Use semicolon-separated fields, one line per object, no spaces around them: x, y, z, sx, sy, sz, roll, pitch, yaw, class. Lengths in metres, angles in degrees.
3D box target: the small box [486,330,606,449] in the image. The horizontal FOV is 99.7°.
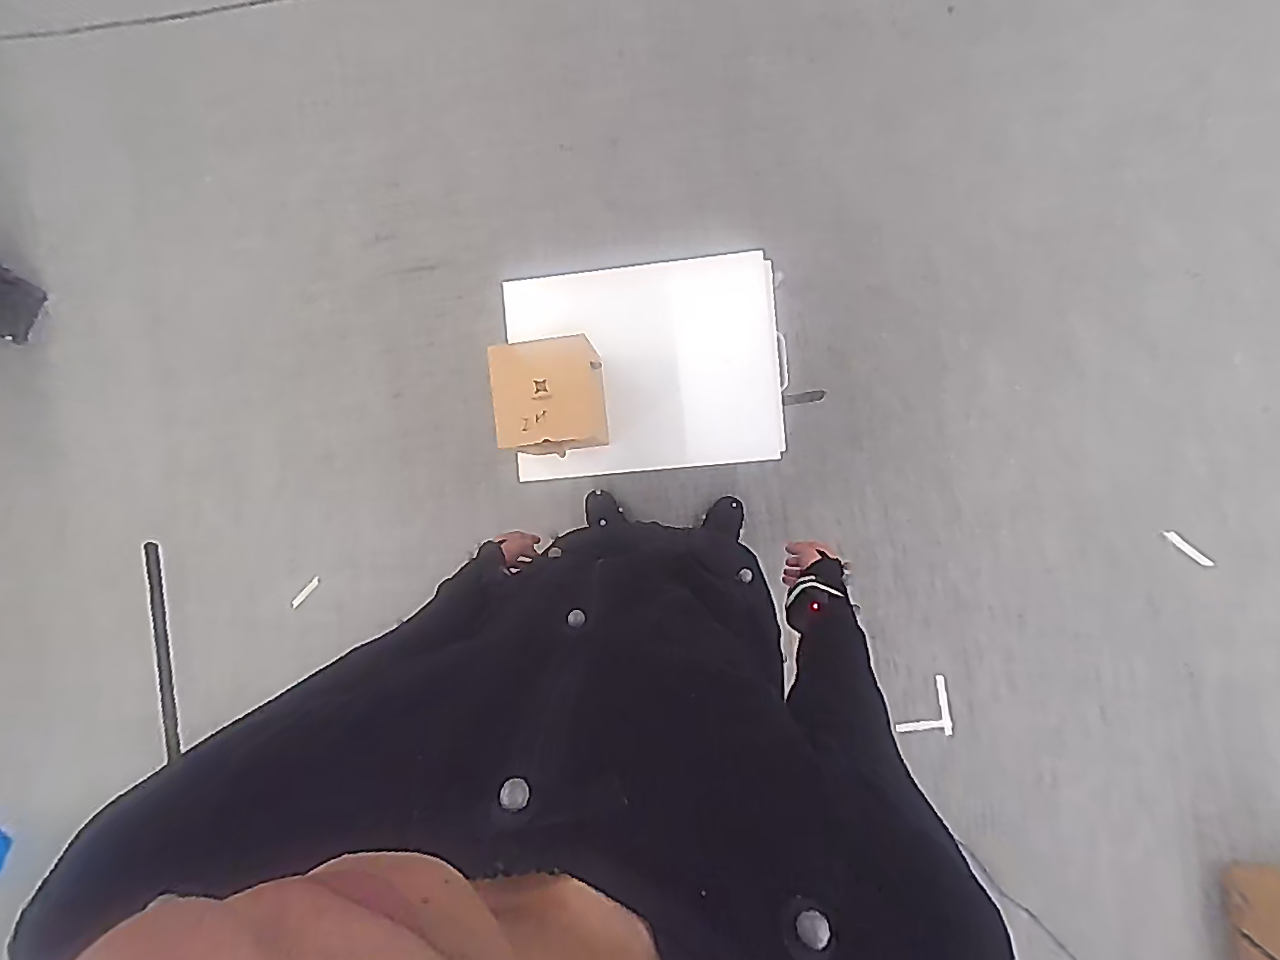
-0.160;-0.153;0.964;0.168;0.176;0.179;-6;91;6;small box
